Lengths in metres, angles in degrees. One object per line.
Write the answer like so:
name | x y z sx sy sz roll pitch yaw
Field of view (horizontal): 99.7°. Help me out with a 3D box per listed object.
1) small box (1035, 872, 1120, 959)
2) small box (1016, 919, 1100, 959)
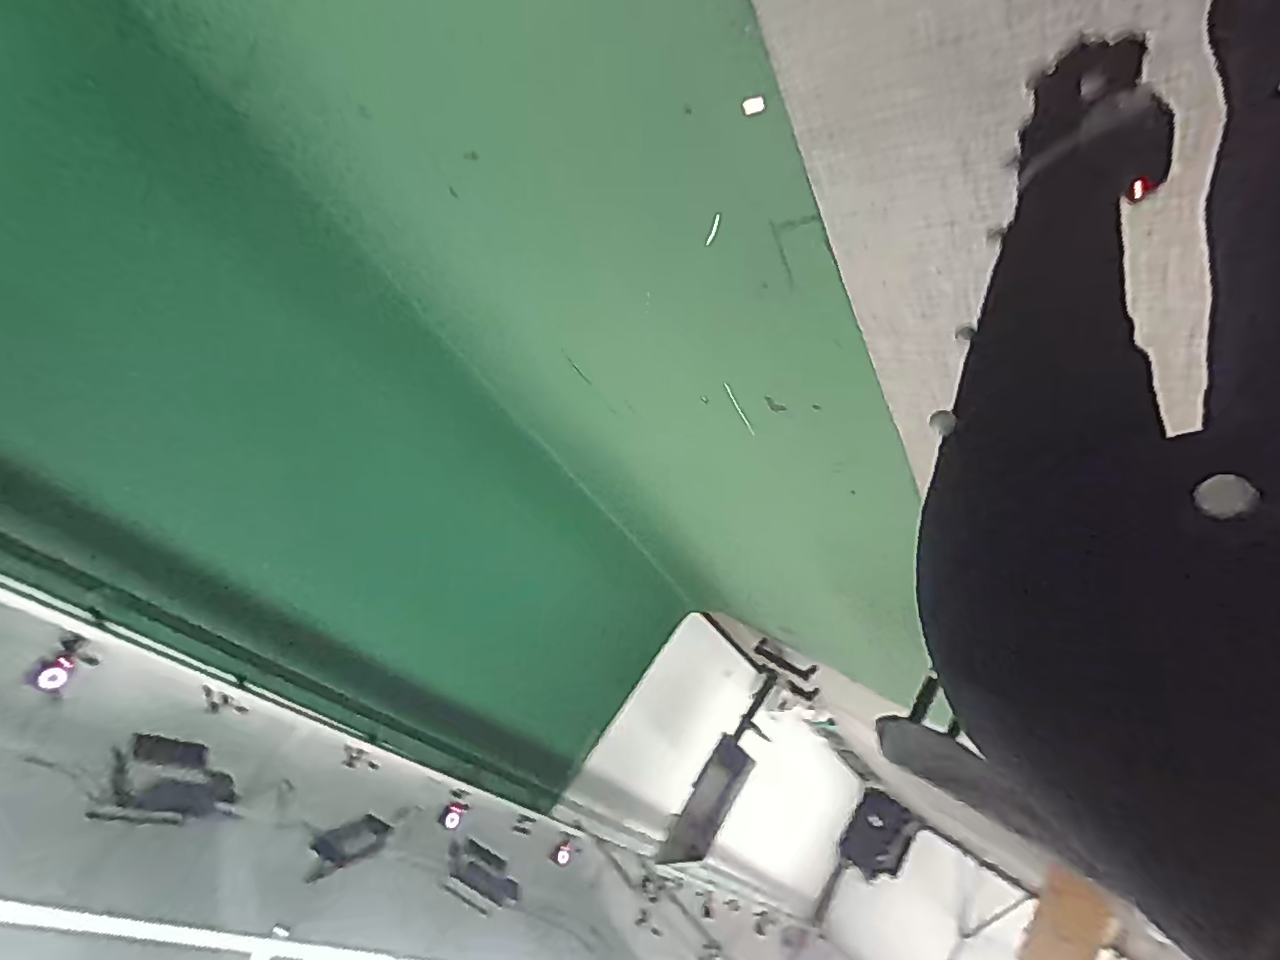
small box | 1.443 1.433 1.782 0.179 0.176 0.168 15 154 50
small box | 1.351 1.562 1.741 0.179 0.176 0.168 19 156 50
